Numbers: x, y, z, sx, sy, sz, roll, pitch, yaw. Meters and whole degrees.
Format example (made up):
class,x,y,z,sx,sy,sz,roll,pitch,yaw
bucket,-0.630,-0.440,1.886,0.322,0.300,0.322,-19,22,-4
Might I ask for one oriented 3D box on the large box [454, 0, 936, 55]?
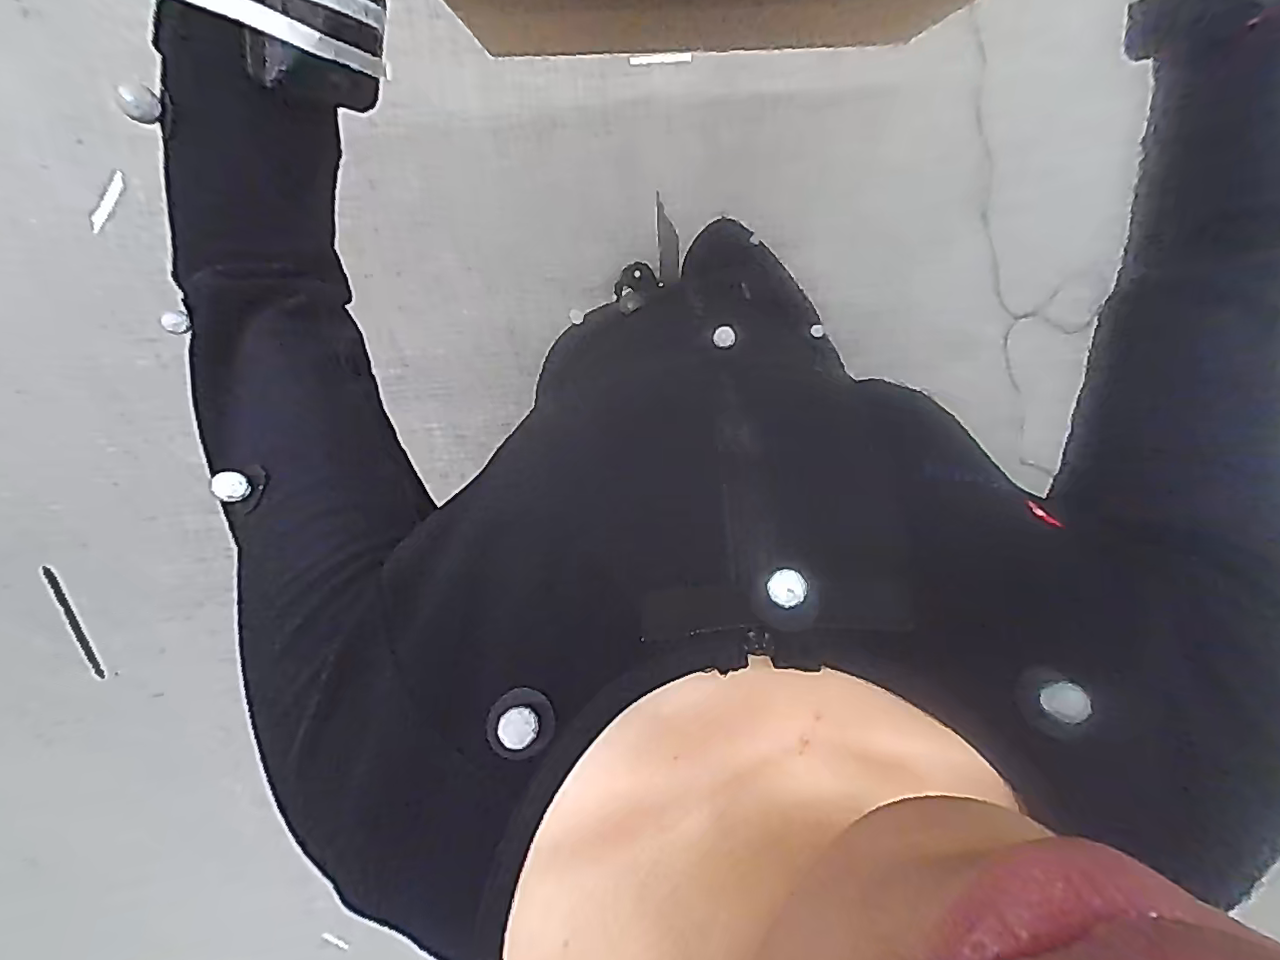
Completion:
class,x,y,z,sx,sy,sz,roll,pitch,yaw
large box,0.049,-0.494,0.322,0.408,0.320,0.320,-3,116,-1
